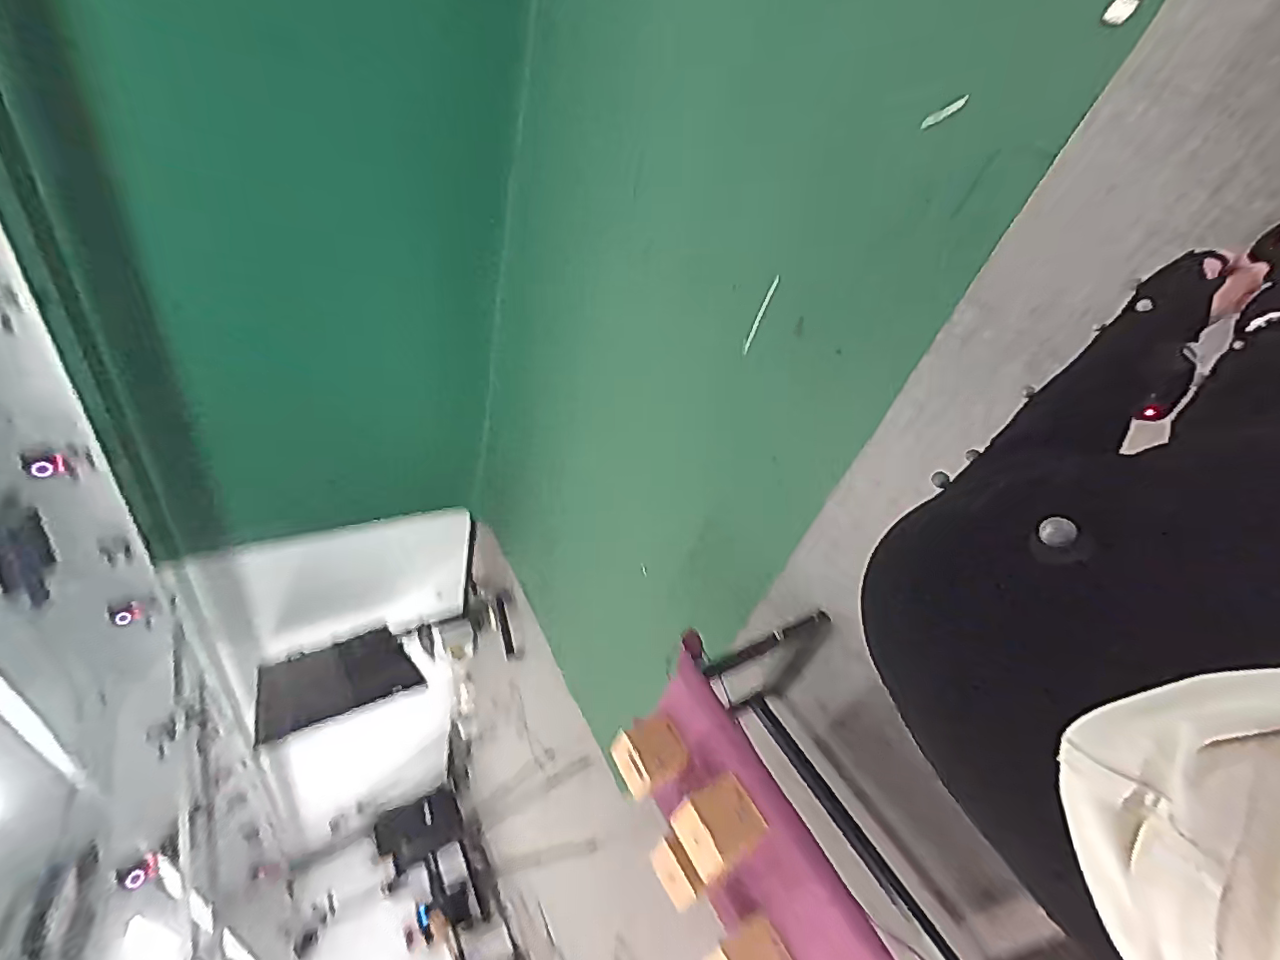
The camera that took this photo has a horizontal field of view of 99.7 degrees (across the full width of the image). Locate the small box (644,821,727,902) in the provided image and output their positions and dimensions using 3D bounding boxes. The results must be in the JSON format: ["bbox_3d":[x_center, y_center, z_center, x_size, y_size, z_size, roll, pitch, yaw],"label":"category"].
[{"bbox_3d":[0.142,1.149,1.672,0.168,0.176,0.179,49,135,35],"label":"small box"}]

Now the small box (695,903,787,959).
[{"bbox_3d":[0.288,1.333,1.512,0.168,0.176,0.179,51,137,35],"label":"small box"}]

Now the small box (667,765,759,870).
[{"bbox_3d":[0.205,0.943,1.519,0.168,0.176,0.179,50,137,35],"label":"small box"}]
